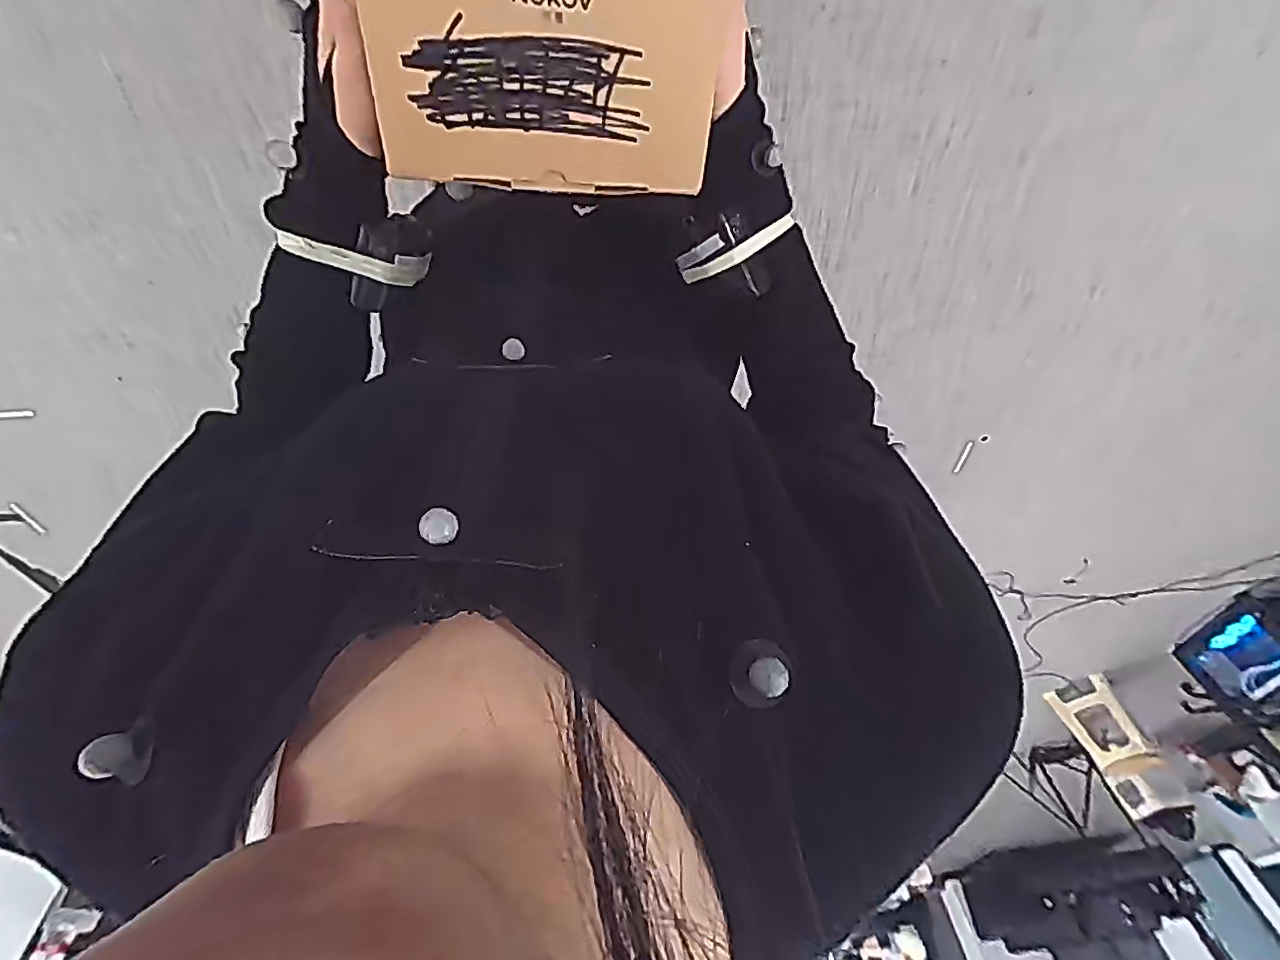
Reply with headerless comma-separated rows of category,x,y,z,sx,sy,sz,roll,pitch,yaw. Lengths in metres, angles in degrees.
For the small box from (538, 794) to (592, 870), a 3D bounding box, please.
small box,-0.244,1.155,1.778,0.168,0.176,0.179,-3,133,-6
